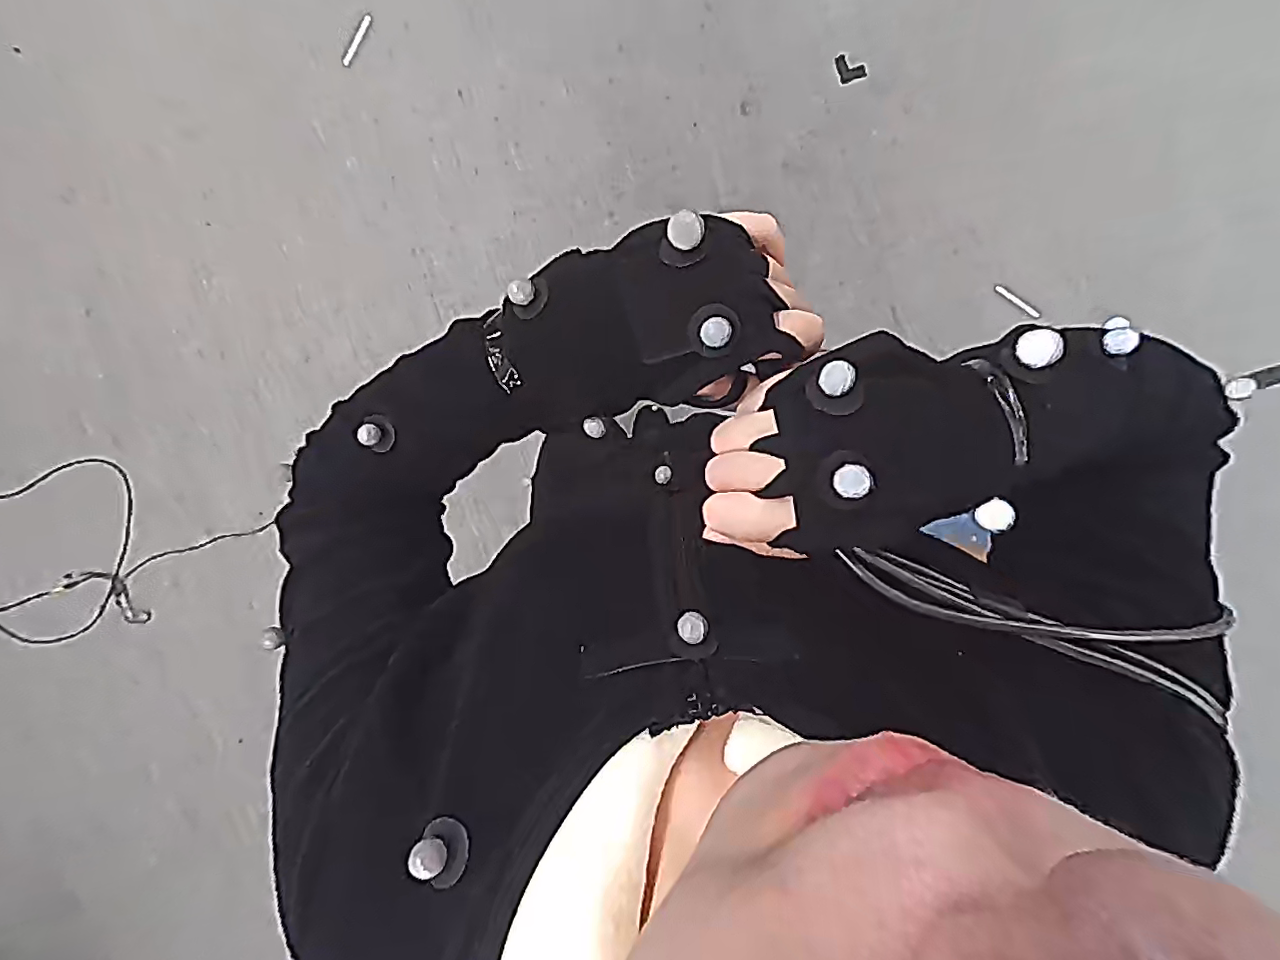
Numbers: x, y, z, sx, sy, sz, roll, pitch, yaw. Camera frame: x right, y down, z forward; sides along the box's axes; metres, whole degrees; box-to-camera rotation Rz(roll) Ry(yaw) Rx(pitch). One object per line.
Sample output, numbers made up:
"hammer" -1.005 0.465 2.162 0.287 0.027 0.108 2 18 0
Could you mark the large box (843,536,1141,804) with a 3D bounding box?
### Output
"large box" 0.743 0.390 1.204 0.320 0.320 0.408 -41 95 4
